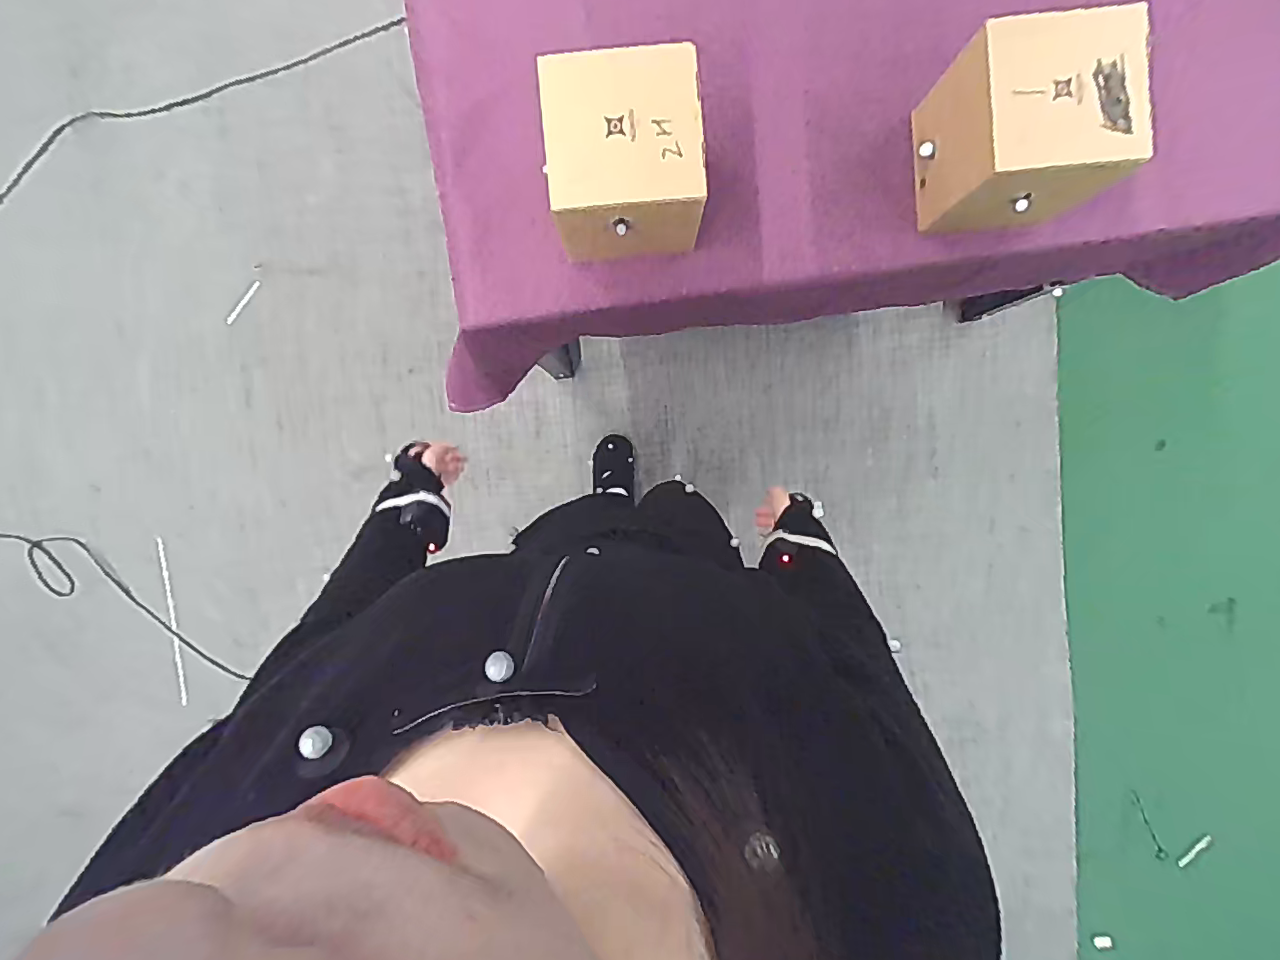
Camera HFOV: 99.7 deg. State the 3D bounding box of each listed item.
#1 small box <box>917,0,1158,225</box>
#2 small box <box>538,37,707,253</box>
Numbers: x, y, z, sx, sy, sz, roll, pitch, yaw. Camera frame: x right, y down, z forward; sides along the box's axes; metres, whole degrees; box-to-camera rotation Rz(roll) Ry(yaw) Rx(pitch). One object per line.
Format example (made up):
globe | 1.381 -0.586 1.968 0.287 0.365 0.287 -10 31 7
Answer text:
small box | 0.468 -0.431 0.658 0.179 0.176 0.168 -5 94 1
small box | -0.017 -0.390 0.661 0.179 0.176 0.168 -4 94 0
